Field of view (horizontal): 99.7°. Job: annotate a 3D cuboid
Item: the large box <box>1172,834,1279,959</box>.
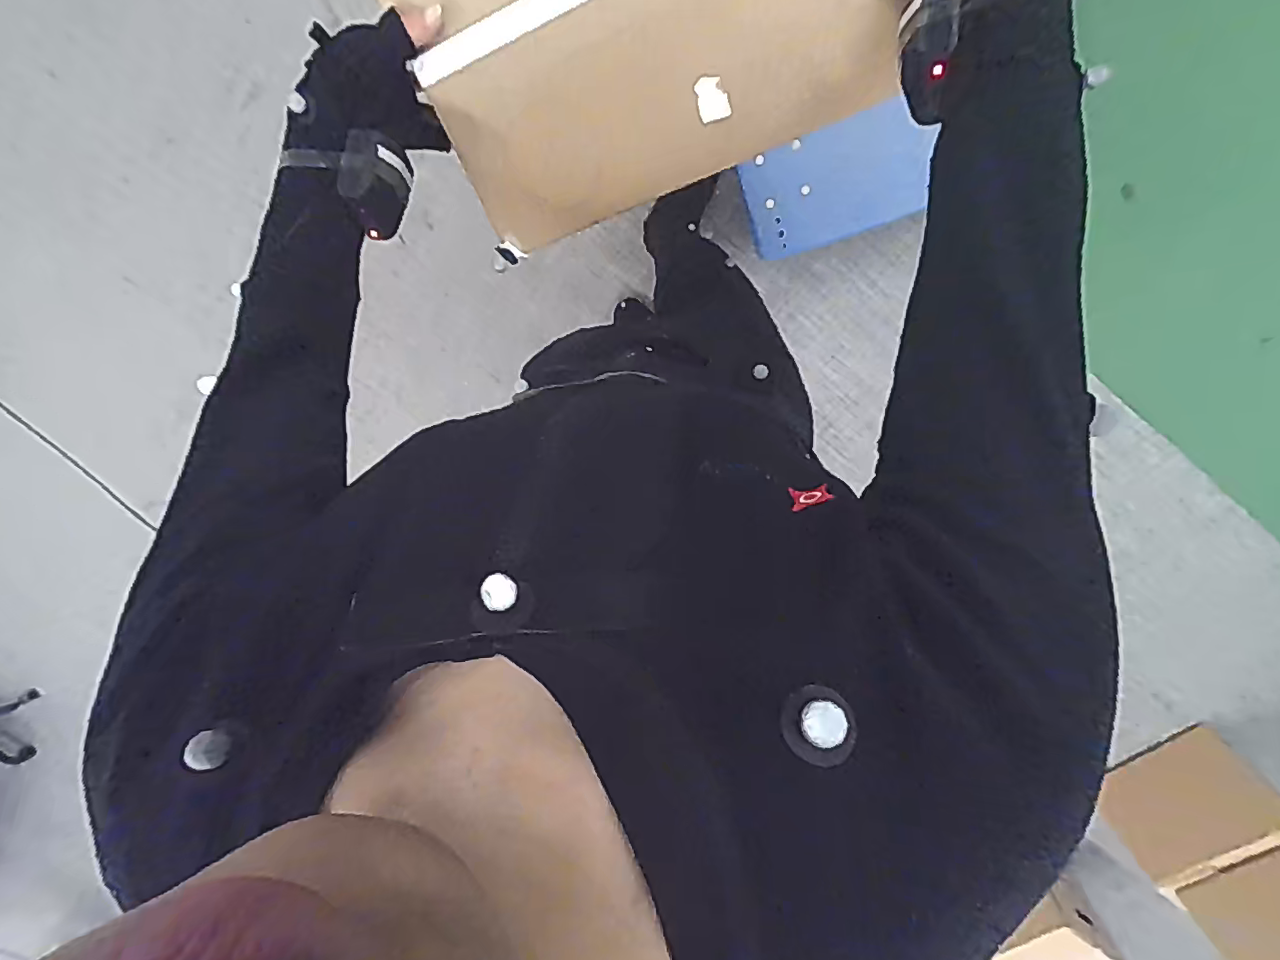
[{"bbox_3d":[1.722,1.139,1.349,0.320,0.320,0.408,35,114,-13],"label":"large box"}]
